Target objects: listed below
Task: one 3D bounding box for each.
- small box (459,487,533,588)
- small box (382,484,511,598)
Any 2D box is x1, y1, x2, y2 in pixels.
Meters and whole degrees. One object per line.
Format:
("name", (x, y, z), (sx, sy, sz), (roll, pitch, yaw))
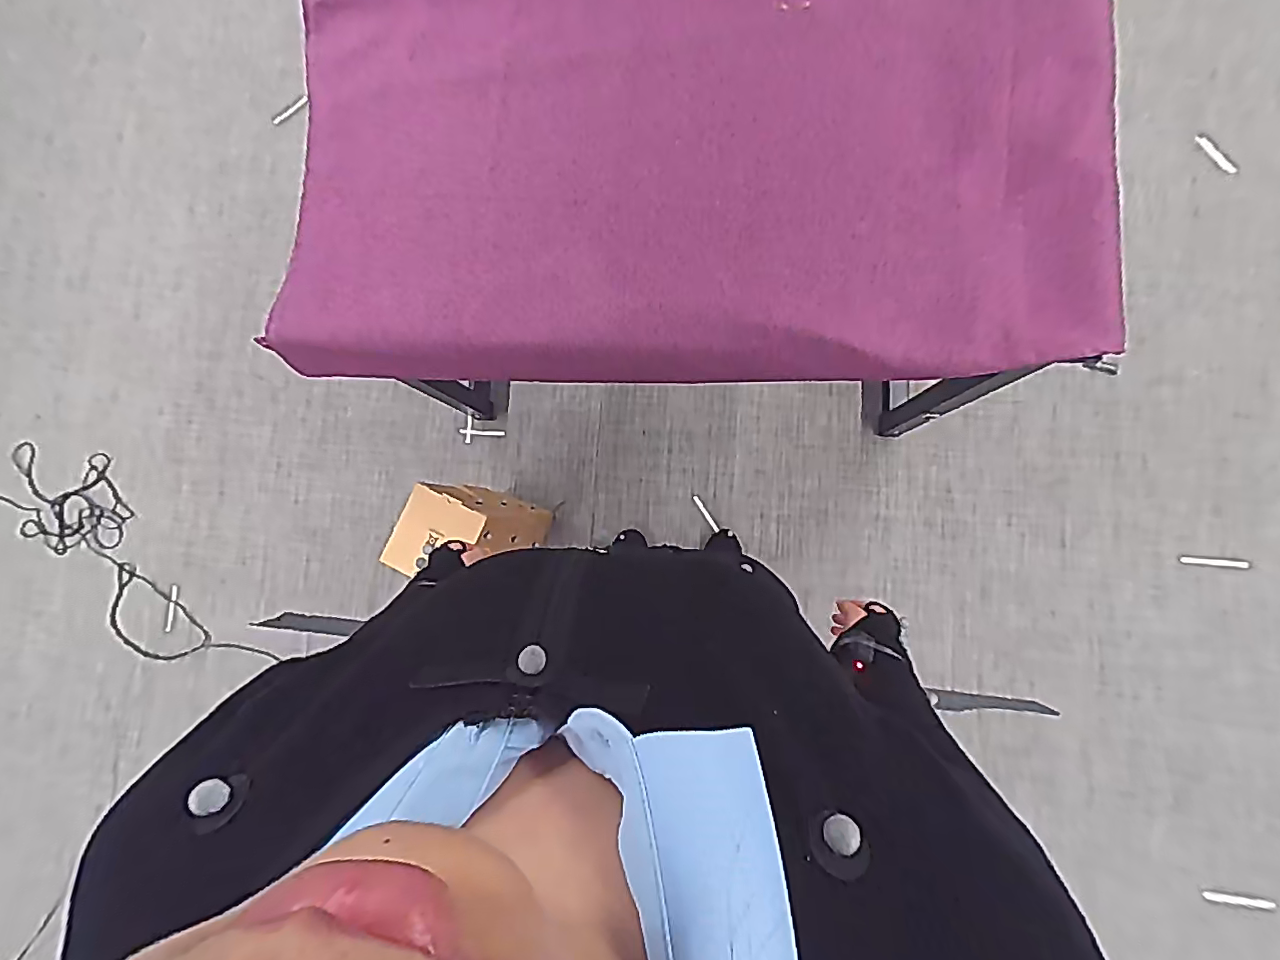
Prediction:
("small box", (-0.376, 0.135, 1.301), (0.168, 0.176, 0.179), (32, 89, 7))
("small box", (-0.395, 0.126, 1.139), (0.168, 0.176, 0.179), (24, 87, 7))
